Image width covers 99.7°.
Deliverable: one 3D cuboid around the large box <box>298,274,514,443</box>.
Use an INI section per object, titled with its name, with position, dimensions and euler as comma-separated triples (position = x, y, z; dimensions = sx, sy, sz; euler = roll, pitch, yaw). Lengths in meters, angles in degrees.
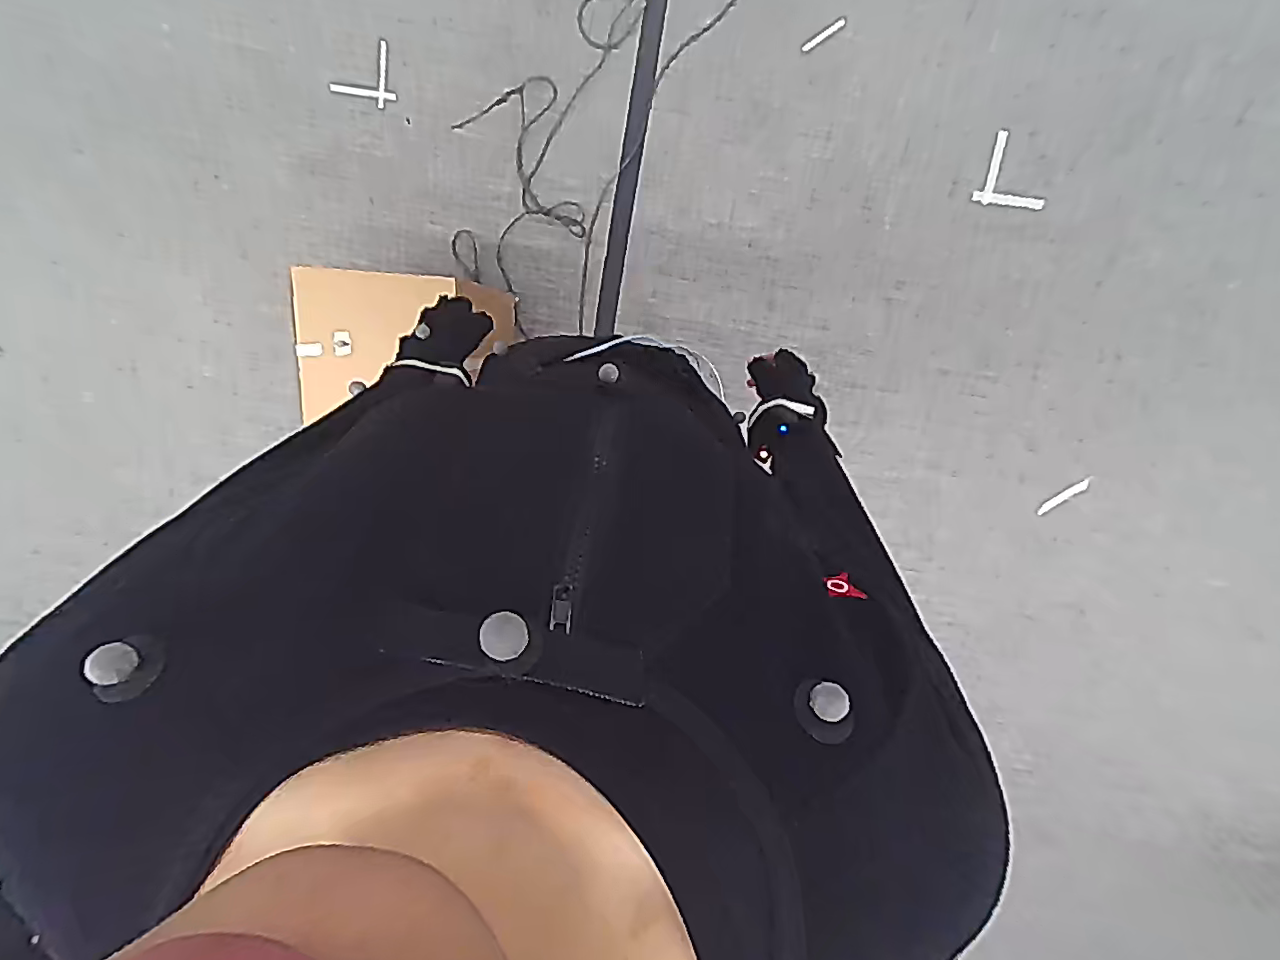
[large box]
position = -0.495, -0.285, 1.233
dimensions = 0.320, 0.408, 0.320
euler = 6, 105, 1
